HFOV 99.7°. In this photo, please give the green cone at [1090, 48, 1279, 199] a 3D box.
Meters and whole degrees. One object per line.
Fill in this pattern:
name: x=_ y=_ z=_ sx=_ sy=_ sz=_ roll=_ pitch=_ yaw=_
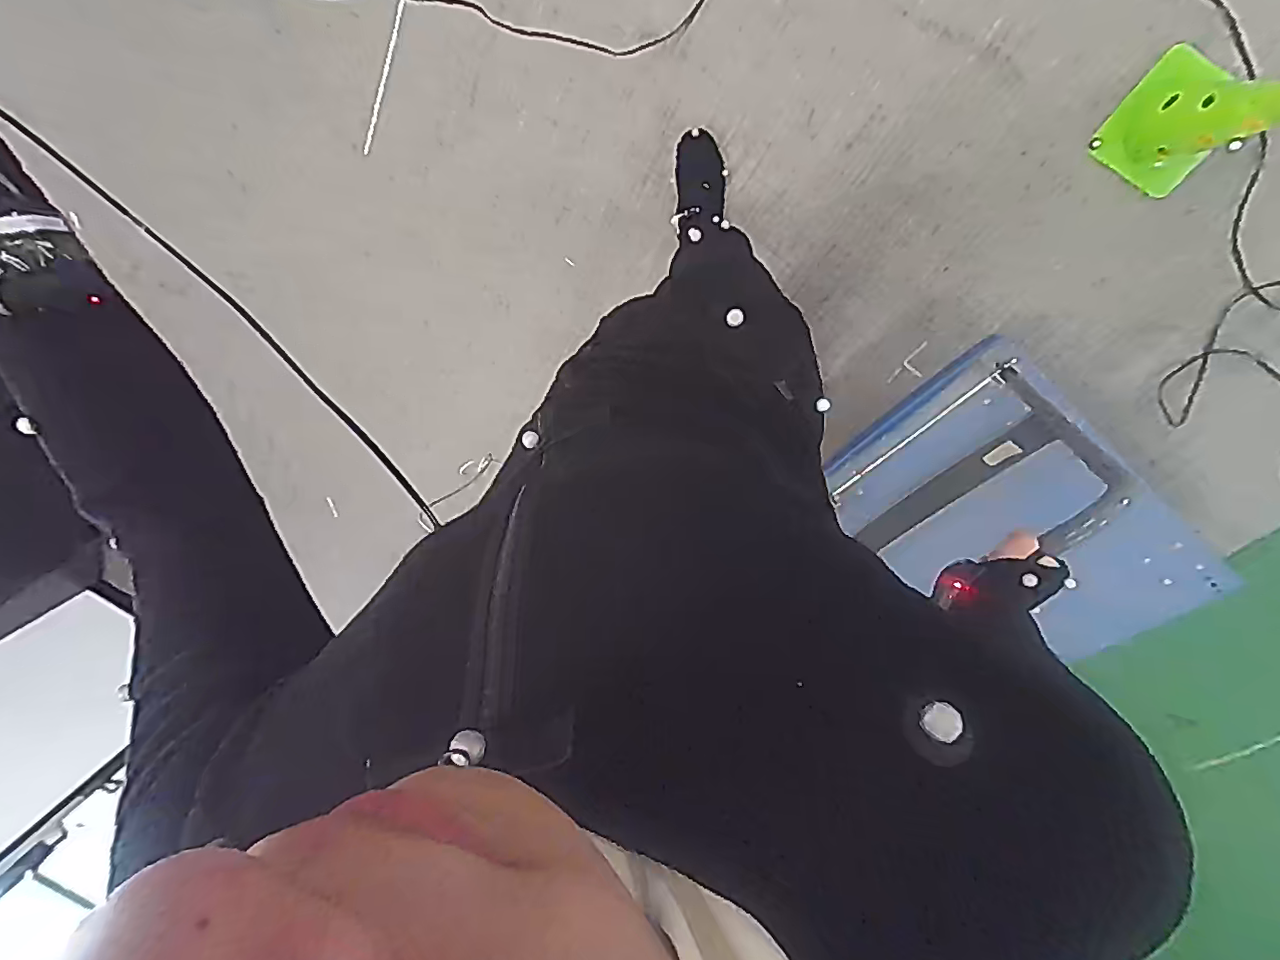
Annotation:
green cone: x=0.992 y=-0.610 z=0.907 sx=0.200 sy=0.368 sz=0.202 roll=31 pitch=121 yaw=-2
